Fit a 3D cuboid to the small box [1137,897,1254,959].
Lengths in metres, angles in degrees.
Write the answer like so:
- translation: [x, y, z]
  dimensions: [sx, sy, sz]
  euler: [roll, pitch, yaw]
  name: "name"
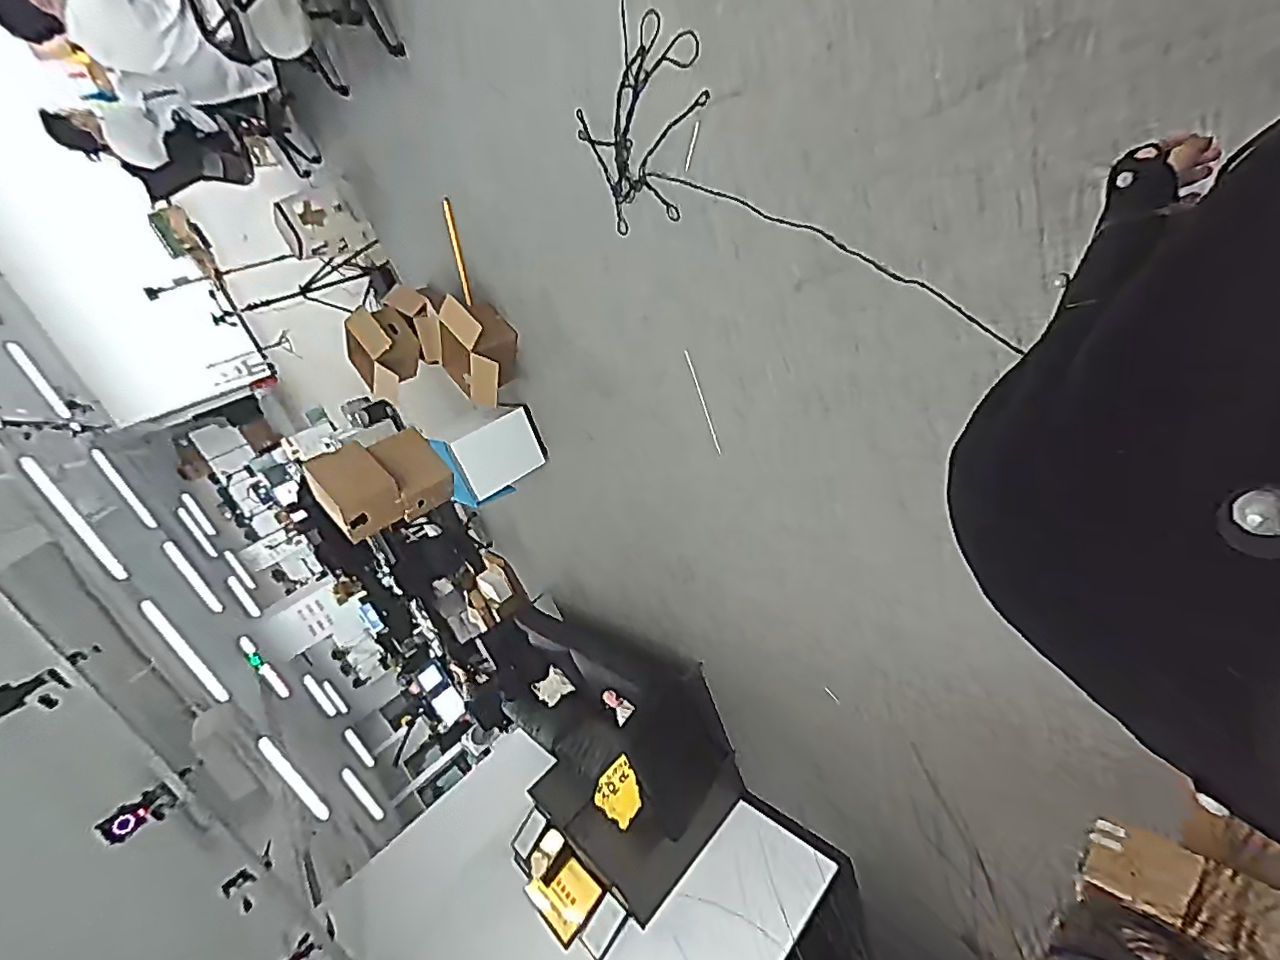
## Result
- translation: [1.249, 1.109, 1.224]
  dimensions: [0.168, 0.176, 0.179]
  euler: [15, 129, 48]
  name: "small box"
